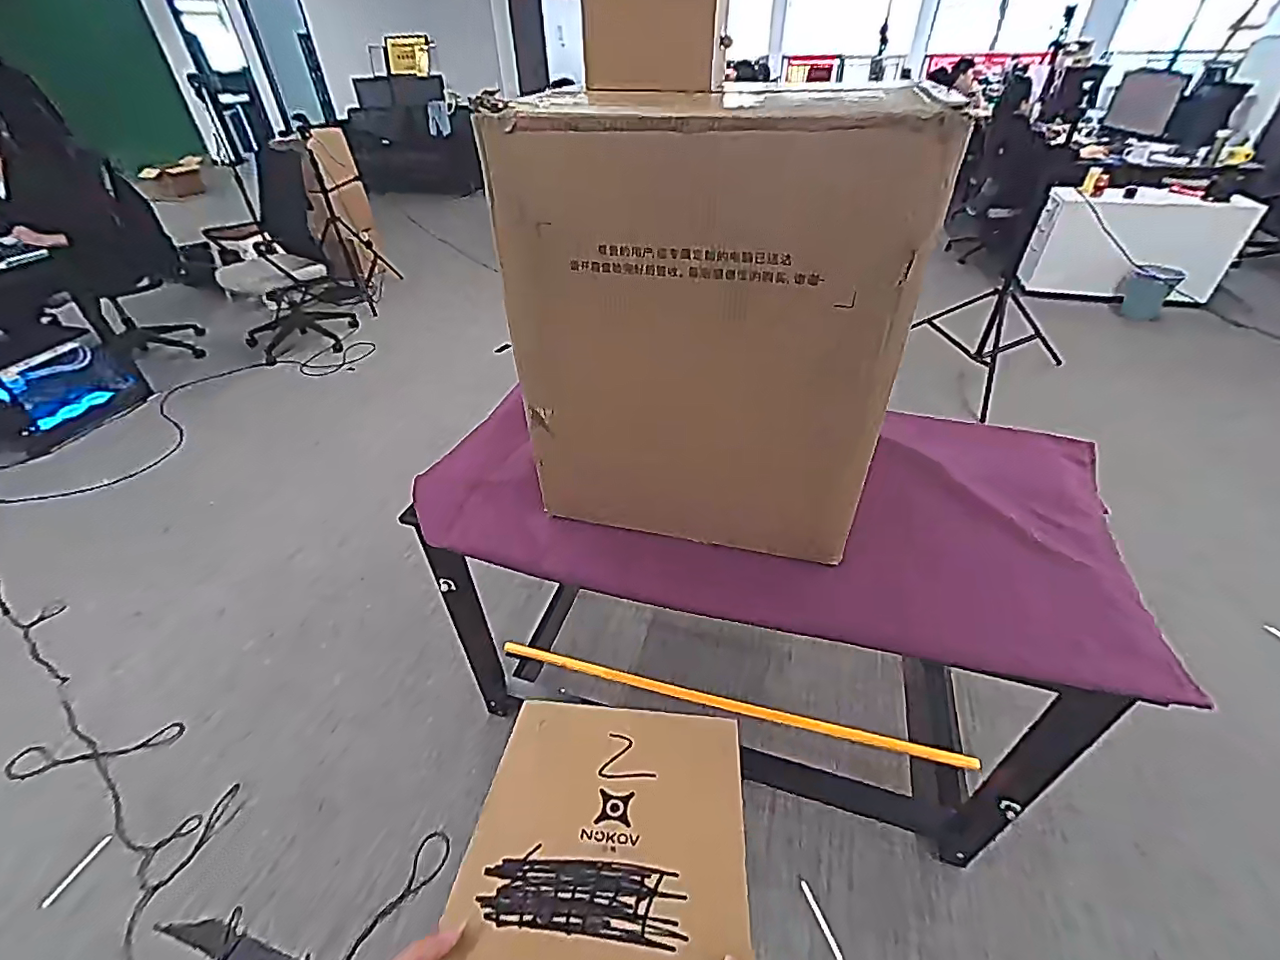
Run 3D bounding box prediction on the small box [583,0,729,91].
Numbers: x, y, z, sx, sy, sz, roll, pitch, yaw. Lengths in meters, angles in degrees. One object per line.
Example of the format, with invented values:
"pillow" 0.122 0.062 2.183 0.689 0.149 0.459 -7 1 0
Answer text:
"small box" 0.024 -0.635 0.733 0.179 0.176 0.168 8 40 10
